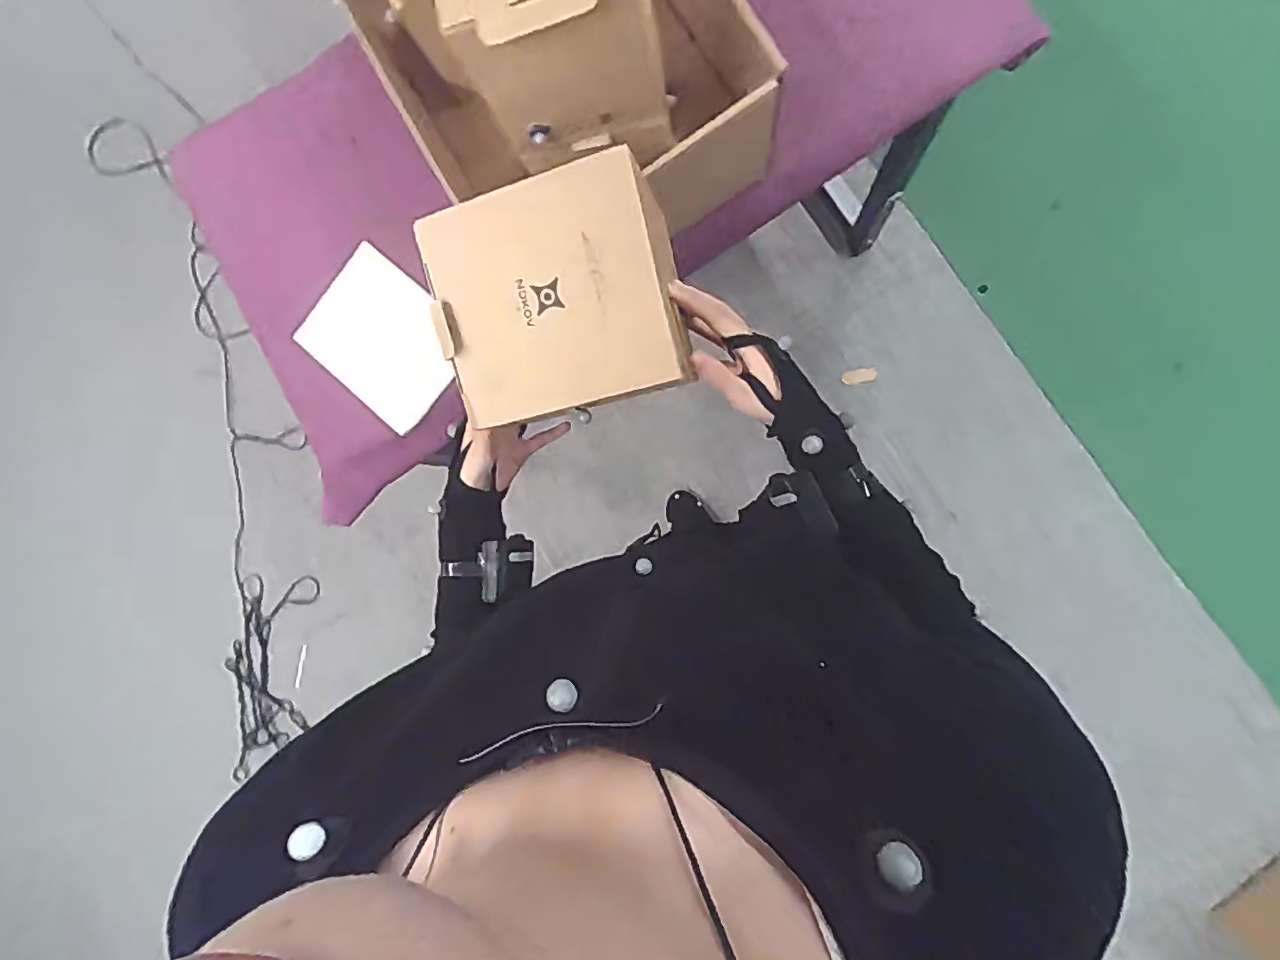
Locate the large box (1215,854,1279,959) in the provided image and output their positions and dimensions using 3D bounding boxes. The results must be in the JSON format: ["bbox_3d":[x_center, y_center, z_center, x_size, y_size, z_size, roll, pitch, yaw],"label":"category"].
[{"bbox_3d":[1.559,0.973,1.088,0.320,0.320,0.408,44,95,7],"label":"large box"}]

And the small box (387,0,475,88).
[{"bbox_3d":[-0.253,-0.672,0.717,0.168,0.176,0.179,-31,86,7],"label":"small box"}]

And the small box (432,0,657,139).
[{"bbox_3d":[-0.086,-0.464,0.514,0.168,0.176,0.179,-10,85,11],"label":"small box"}]

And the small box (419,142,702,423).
[{"bbox_3d":[-0.052,-0.150,0.474,0.179,0.176,0.168,-11,98,13],"label":"small box"}]
